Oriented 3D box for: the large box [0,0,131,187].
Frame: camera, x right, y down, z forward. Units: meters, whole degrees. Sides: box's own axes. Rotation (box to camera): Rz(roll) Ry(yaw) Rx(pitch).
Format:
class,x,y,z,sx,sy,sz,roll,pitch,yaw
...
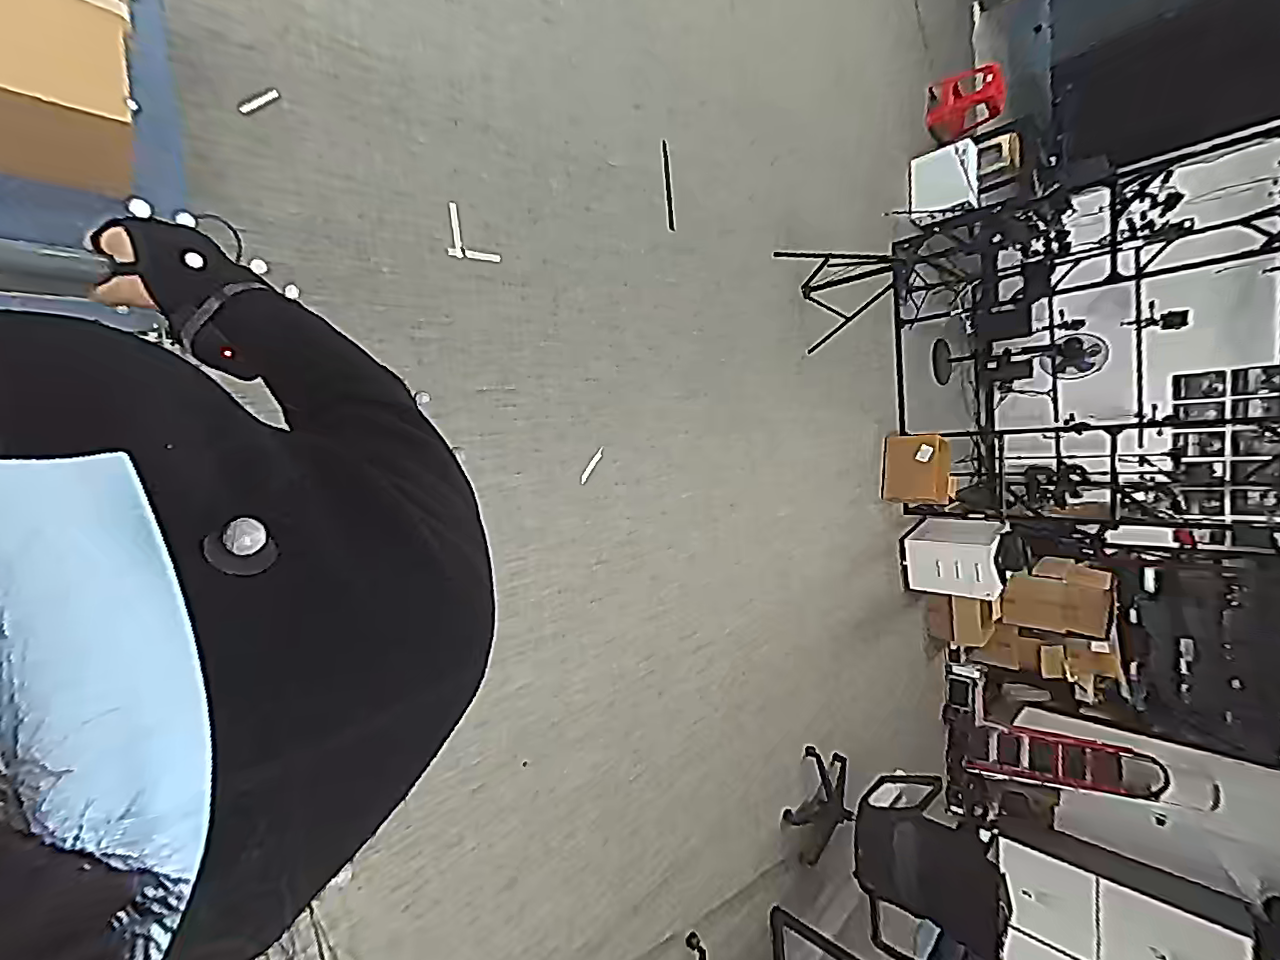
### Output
class,x,y,z,sx,sy,sz,roll,pitch,yaw
large box,-0.994,-0.660,0.743,0.408,0.320,0.320,-7,95,-43
